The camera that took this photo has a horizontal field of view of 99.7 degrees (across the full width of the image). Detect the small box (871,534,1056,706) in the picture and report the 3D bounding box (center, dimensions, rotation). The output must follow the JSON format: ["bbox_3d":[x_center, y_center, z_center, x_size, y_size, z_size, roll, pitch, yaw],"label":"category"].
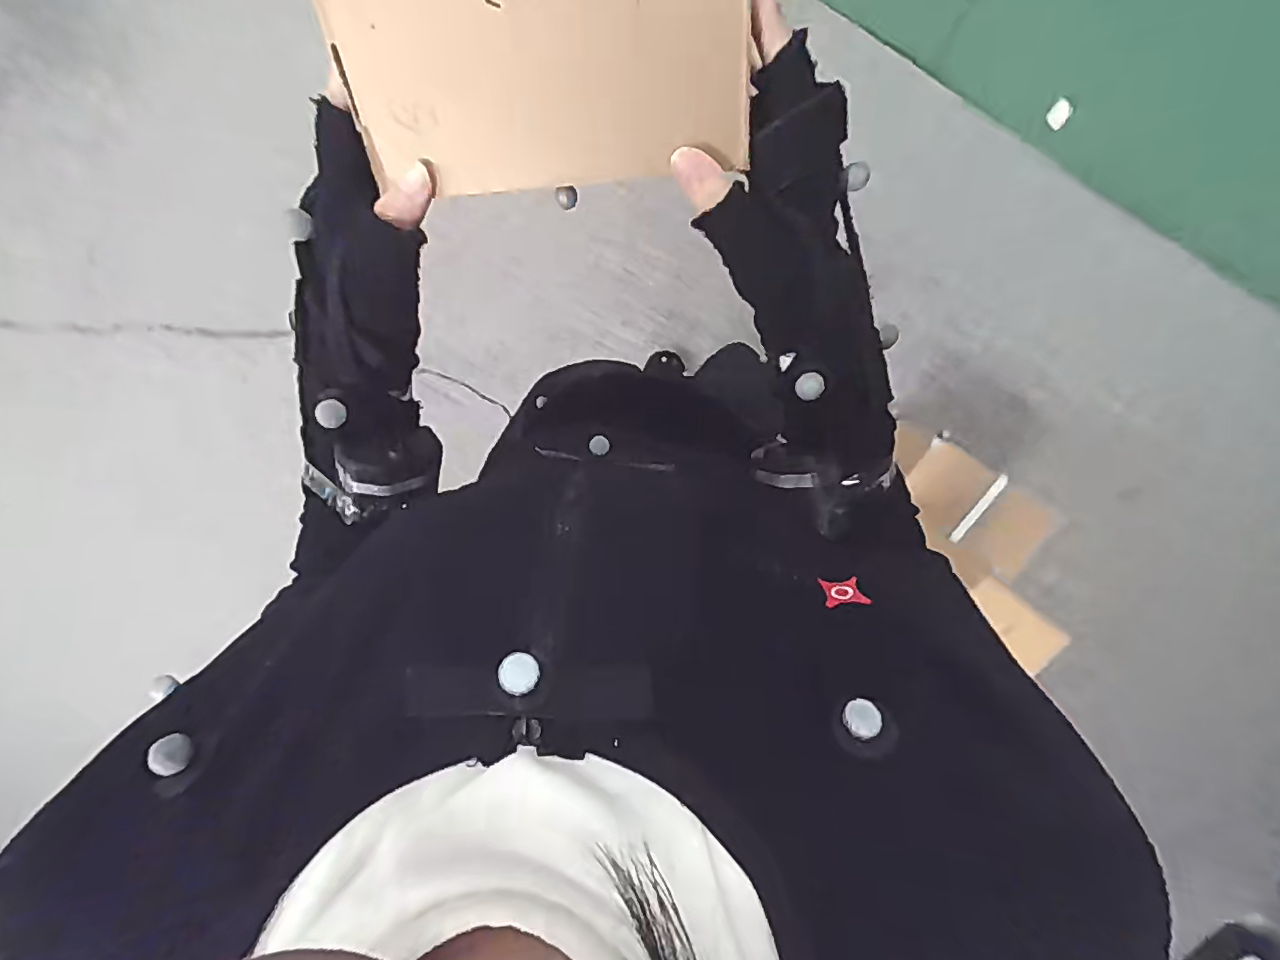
[{"bbox_3d":[0.511,0.221,0.891,0.168,0.176,0.179,37,105,-5],"label":"small box"}]

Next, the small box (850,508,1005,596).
[{"bbox_3d":[0.540,0.173,1.047,0.179,0.176,0.168,34,106,-4],"label":"small box"}]

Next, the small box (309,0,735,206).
[{"bbox_3d":[-0.048,-0.252,0.275,0.179,0.176,0.168,-5,126,5],"label":"small box"}]
